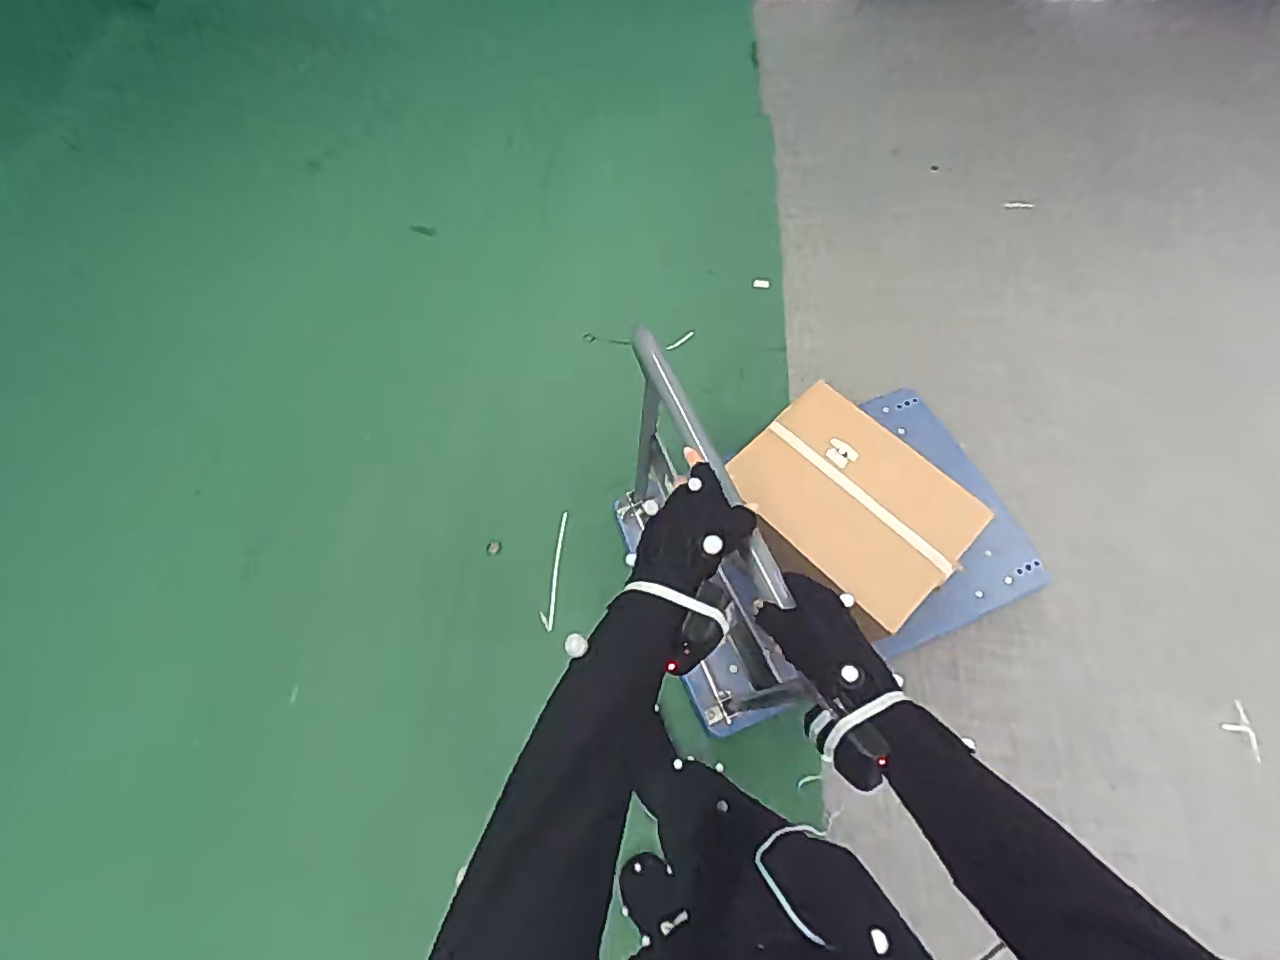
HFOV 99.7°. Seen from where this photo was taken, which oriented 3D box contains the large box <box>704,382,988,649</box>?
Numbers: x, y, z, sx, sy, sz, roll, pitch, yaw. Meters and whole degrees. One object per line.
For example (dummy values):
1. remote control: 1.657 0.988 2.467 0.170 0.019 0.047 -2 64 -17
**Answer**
1. large box: 0.388 0.085 1.127 0.320 0.320 0.408 -40 70 -16
